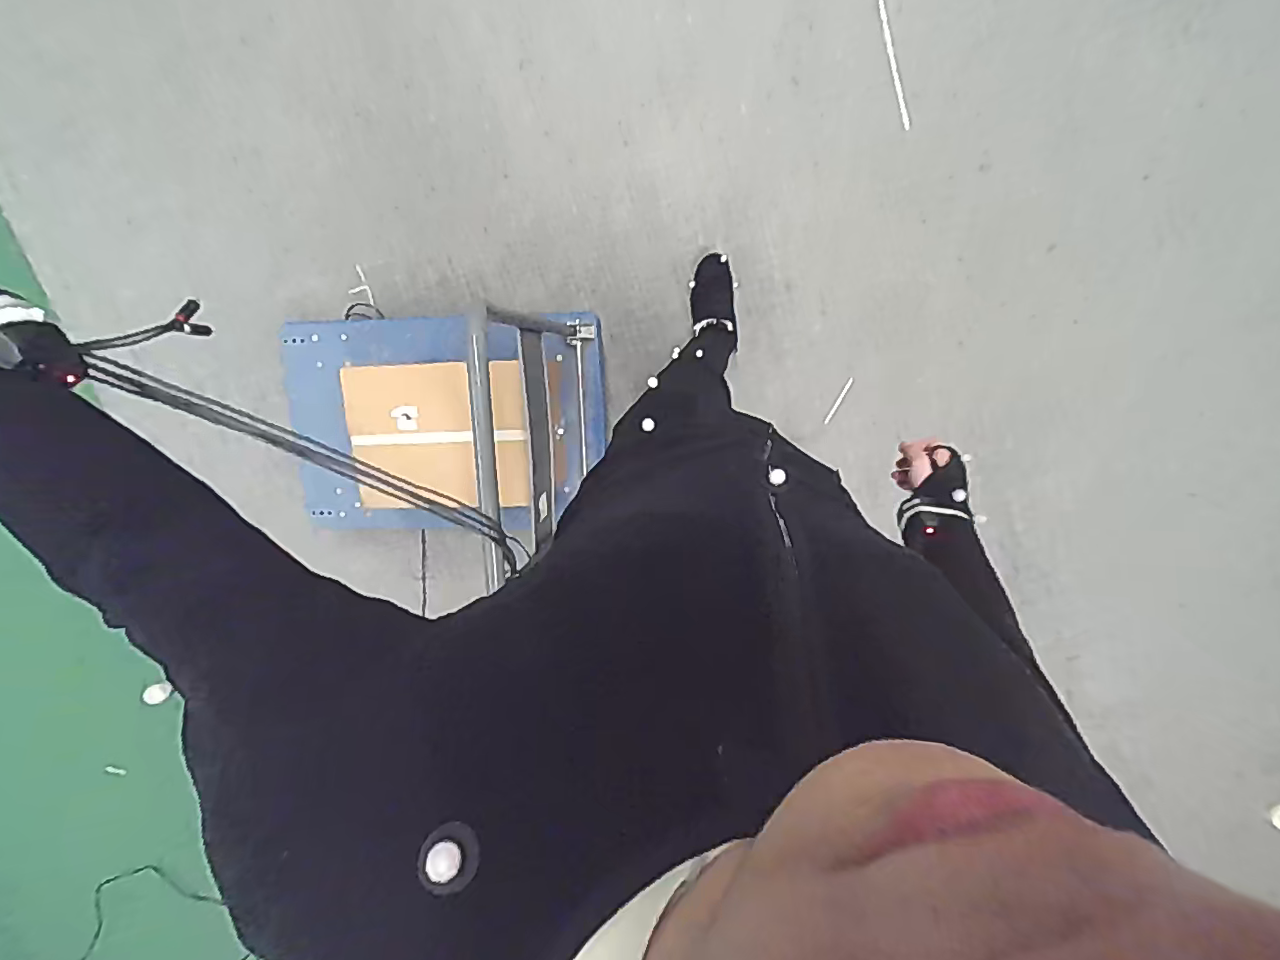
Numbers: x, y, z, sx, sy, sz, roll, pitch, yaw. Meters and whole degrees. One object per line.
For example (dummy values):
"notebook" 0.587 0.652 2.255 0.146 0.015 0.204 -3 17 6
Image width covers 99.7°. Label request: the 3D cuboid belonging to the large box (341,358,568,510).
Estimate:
"large box" -0.413 -0.122 1.296 0.408 0.320 0.320 -1 102 6
